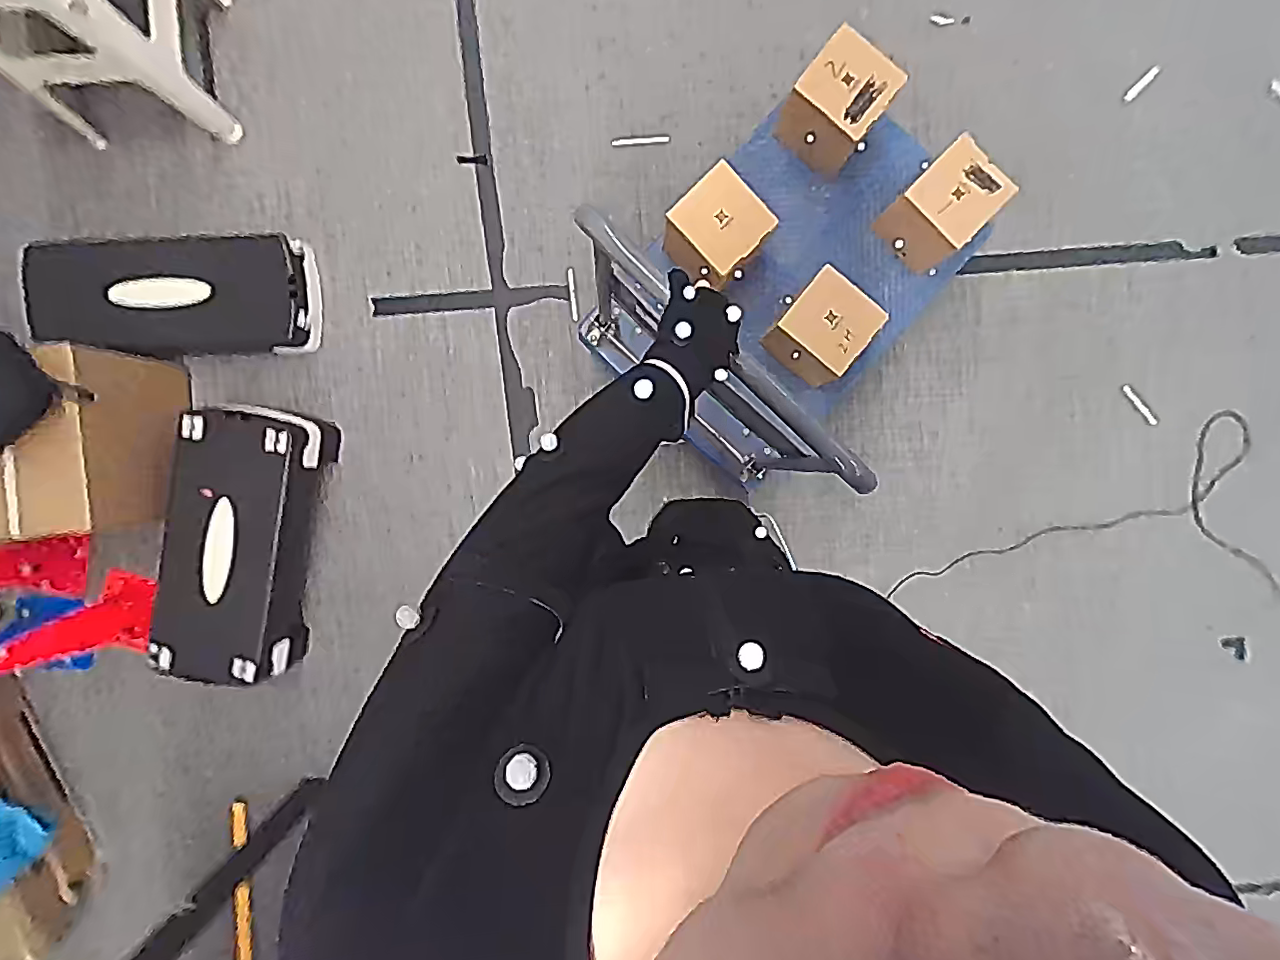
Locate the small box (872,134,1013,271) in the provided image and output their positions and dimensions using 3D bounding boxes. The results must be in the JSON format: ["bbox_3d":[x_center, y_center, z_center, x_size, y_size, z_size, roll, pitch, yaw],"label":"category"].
[{"bbox_3d":[0.655,-0.600,1.194,0.168,0.176,0.179,44,93,-3],"label":"small box"}]

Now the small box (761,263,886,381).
[{"bbox_3d":[0.395,-0.338,1.202,0.179,0.176,0.168,39,92,-3],"label":"small box"}]

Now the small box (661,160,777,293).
[{"bbox_3d":[0.162,-0.542,1.186,0.168,0.176,0.179,-44,95,0],"label":"small box"}]
